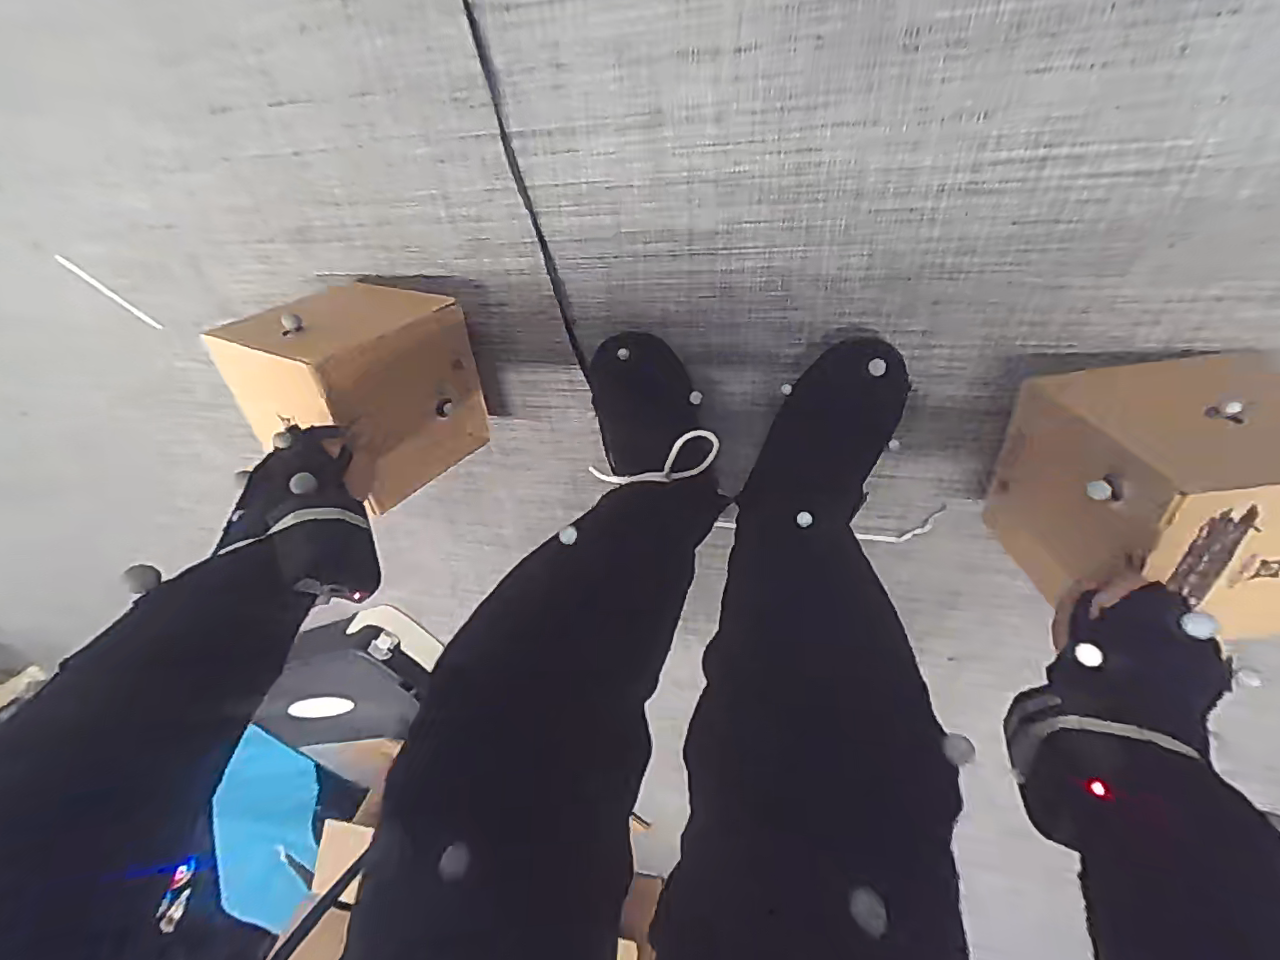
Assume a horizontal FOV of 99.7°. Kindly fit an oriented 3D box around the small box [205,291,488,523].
[{"bbox_3d":[-0.292,-0.088,0.568,0.179,0.176,0.168,19,133,29],"label":"small box"}]
